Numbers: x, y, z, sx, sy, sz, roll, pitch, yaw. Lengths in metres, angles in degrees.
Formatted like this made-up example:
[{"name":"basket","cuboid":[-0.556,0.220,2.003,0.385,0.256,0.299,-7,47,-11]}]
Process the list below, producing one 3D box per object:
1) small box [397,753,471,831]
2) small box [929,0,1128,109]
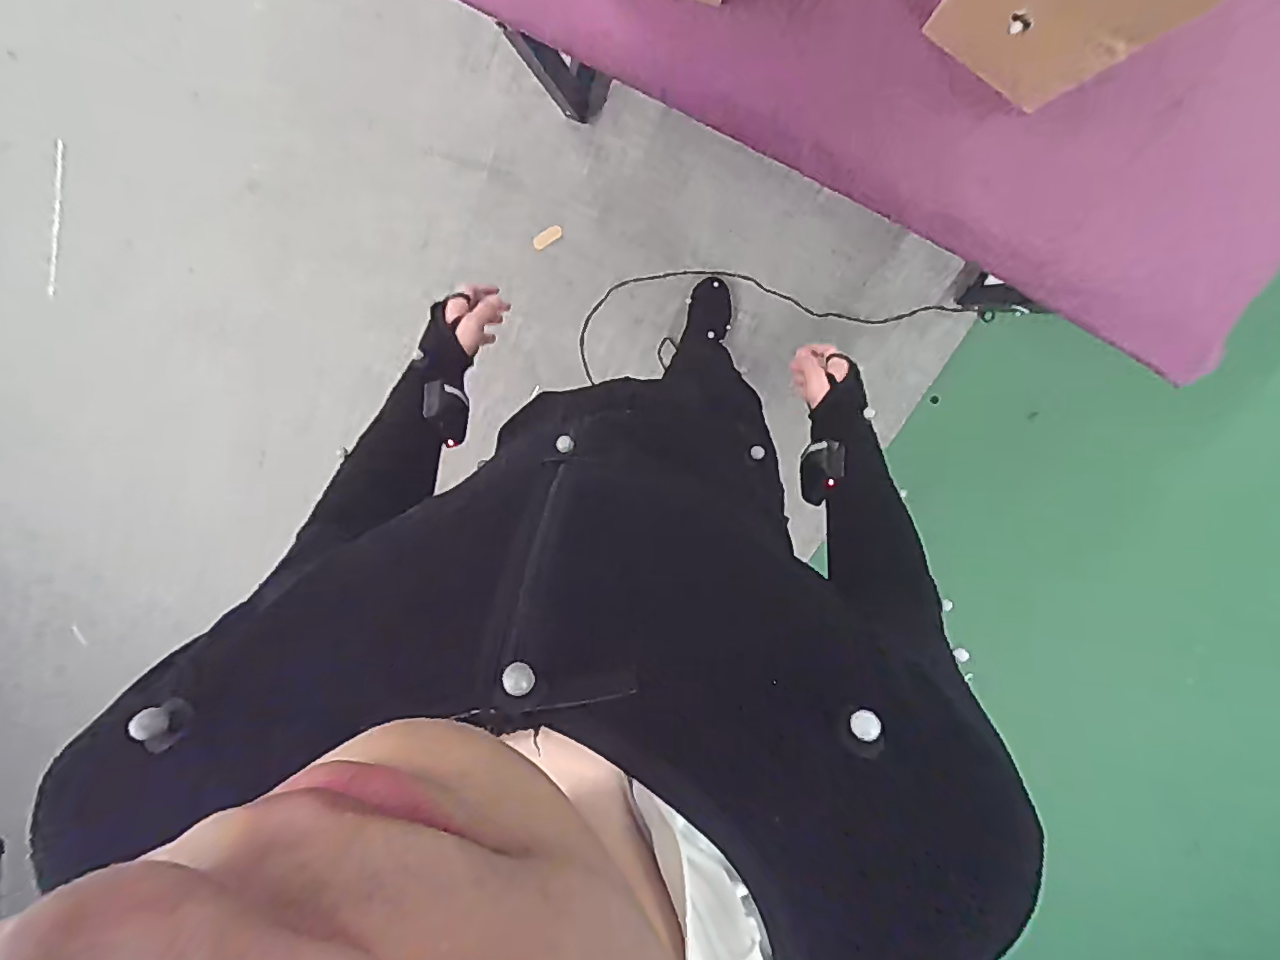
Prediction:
[{"name":"small box","cuboid":[-0.780,1.178,2.059,0.179,0.176,0.168,29,110,-4]},{"name":"small box","cuboid":[0.459,-0.548,0.585,0.179,0.176,0.168,33,109,-5]}]
